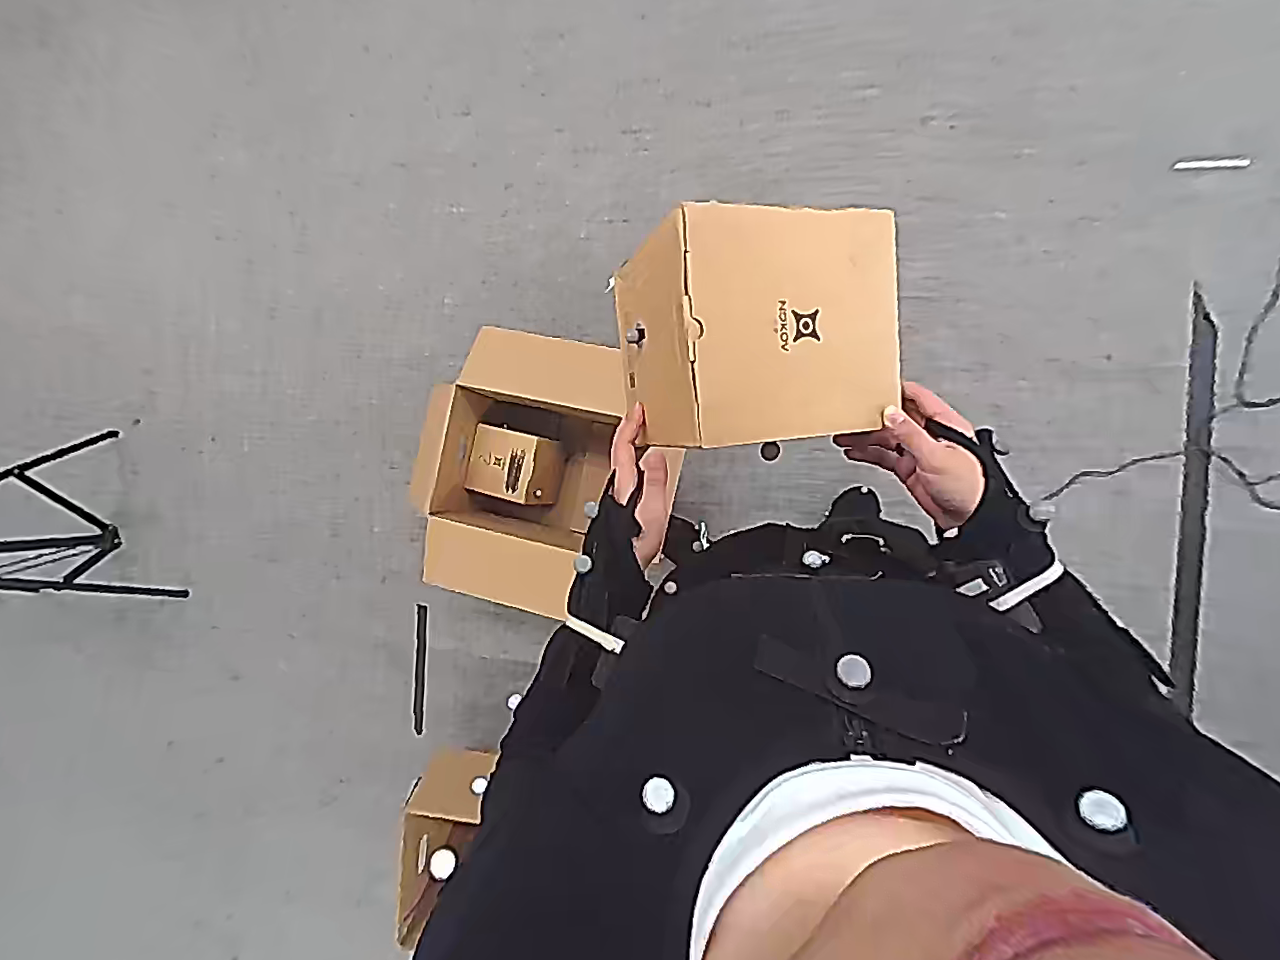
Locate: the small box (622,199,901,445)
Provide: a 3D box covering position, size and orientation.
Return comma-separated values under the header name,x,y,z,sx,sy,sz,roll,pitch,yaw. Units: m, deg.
name,x,y,z,sx,sy,sz,roll,pitch,yaw
small box,0.095,-0.122,0.469,0.179,0.176,0.168,-7,97,-17
